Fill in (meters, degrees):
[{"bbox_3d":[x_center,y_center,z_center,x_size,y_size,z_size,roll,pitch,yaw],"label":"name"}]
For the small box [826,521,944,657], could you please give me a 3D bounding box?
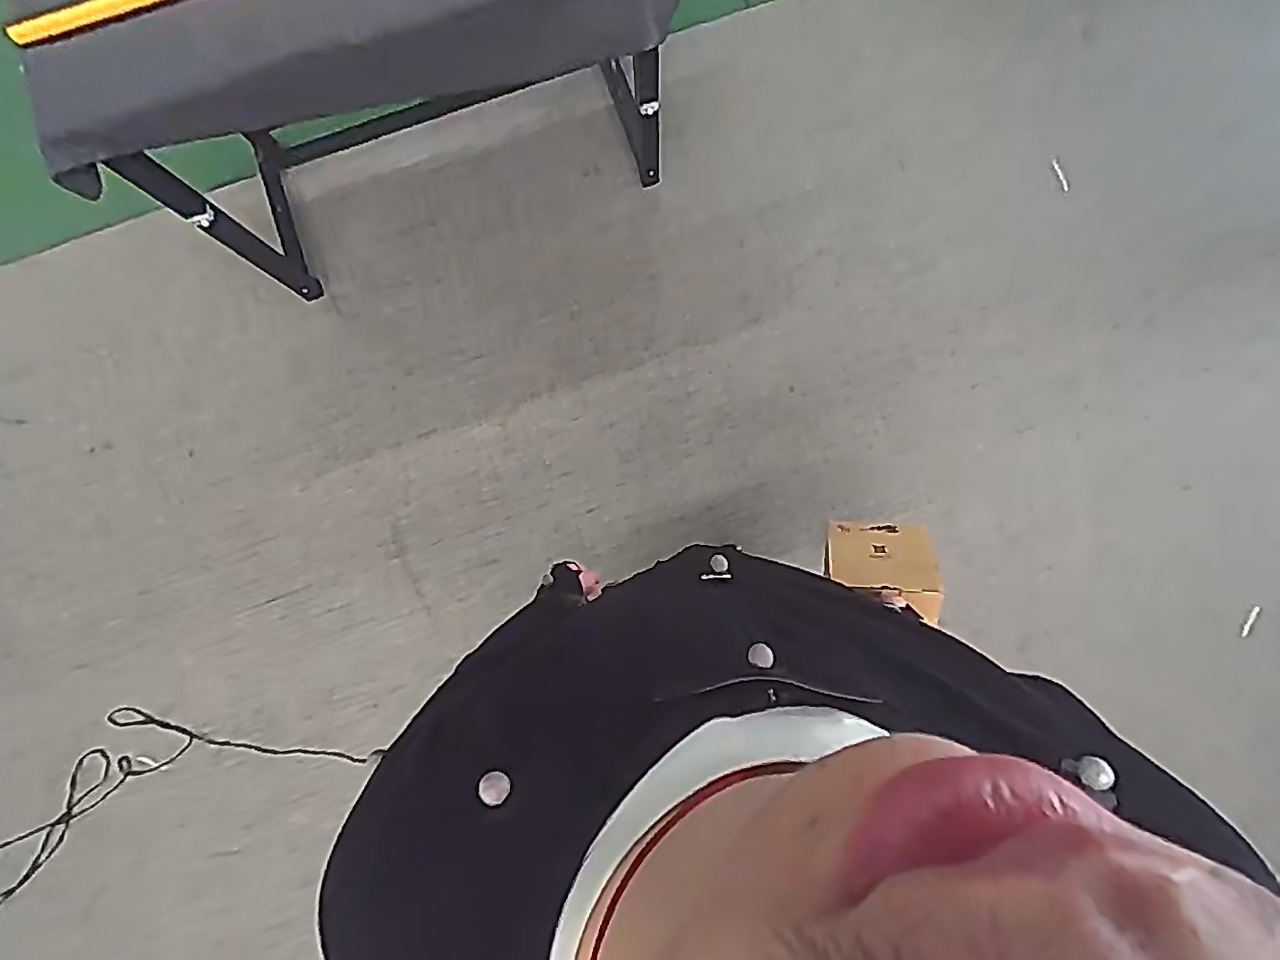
[{"bbox_3d":[0.424,0.193,0.958,0.168,0.179,0.176,-2,123,16],"label":"small box"}]
